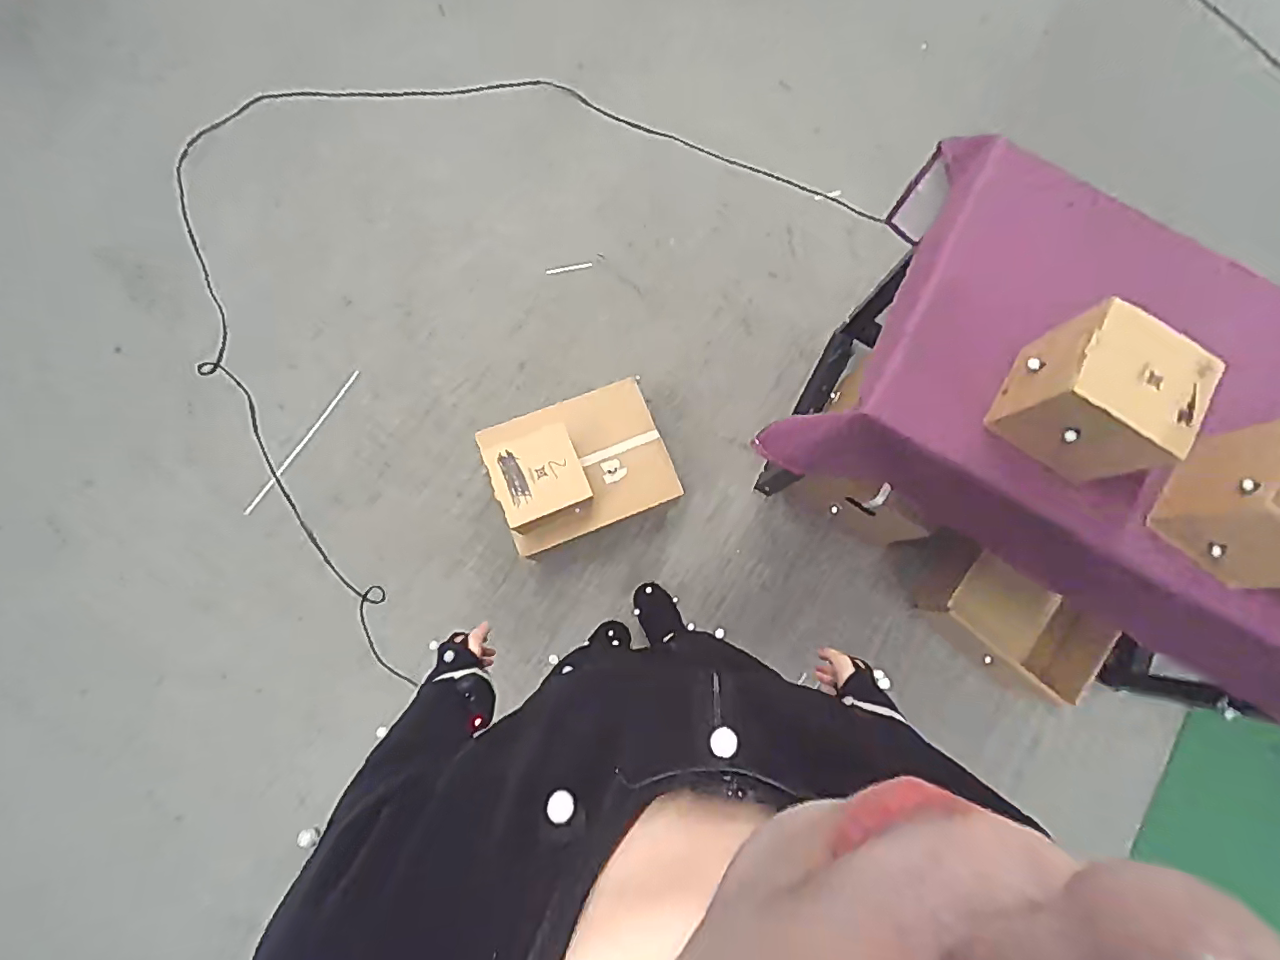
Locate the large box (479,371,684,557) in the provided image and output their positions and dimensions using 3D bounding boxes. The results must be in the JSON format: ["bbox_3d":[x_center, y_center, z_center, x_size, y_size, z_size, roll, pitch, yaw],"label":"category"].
[{"bbox_3d":[-0.146,-0.023,1.394,0.408,0.320,0.320,-21,83,-8],"label":"large box"}]

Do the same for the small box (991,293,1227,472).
[{"bbox_3d":[0.669,-0.129,0.794,0.179,0.176,0.168,33,80,3],"label":"small box"}]

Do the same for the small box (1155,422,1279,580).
[{"bbox_3d":[0.921,0.029,0.785,0.168,0.176,0.179,38,80,3],"label":"small box"}]
